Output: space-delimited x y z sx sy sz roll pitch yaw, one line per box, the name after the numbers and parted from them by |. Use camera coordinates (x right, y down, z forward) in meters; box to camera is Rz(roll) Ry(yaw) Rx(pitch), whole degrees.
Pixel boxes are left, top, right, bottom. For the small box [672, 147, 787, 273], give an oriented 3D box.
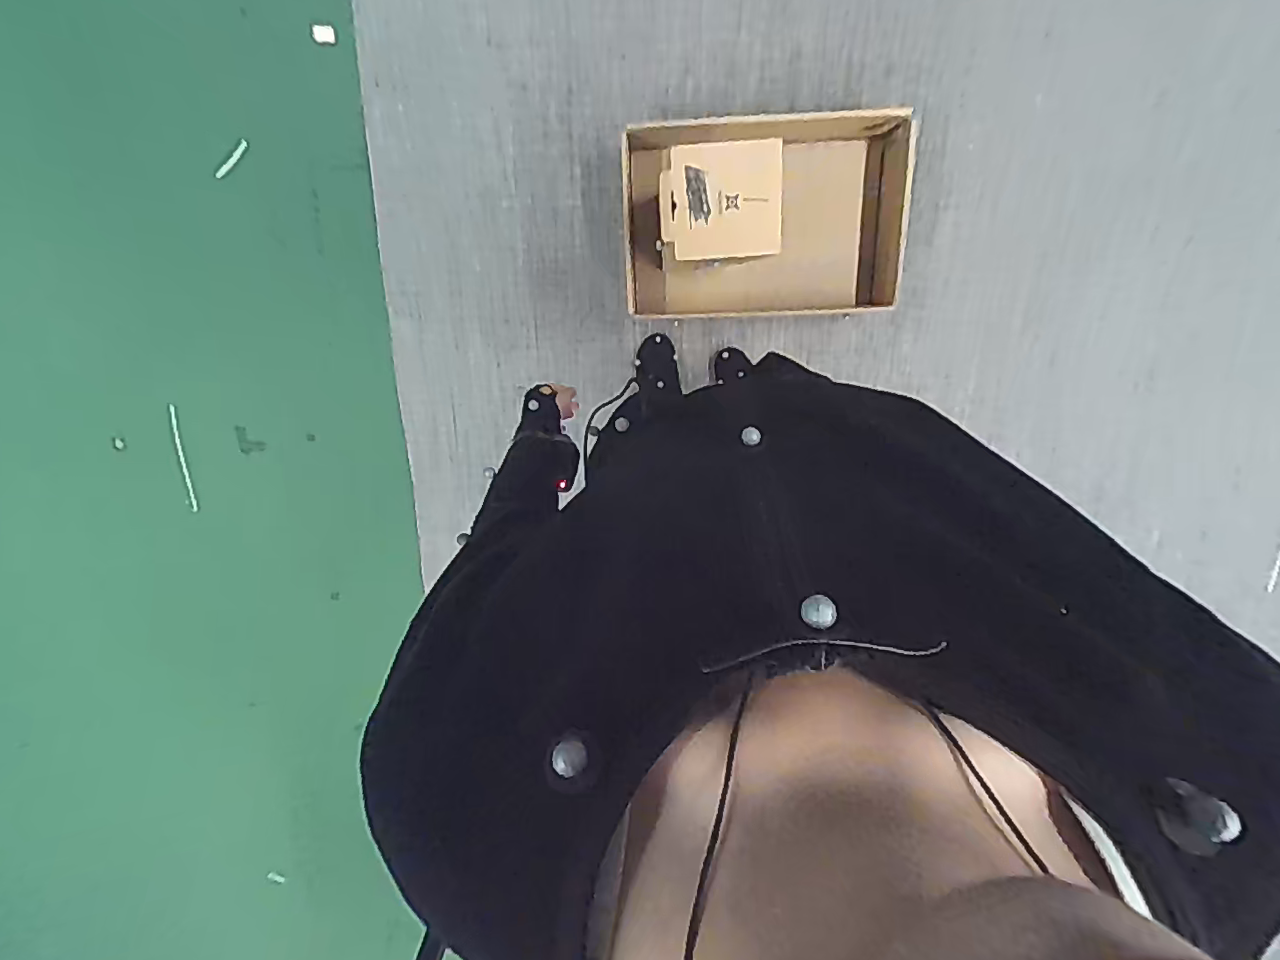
0.146 -0.452 0.931 0.179 0.176 0.168 -4 108 2 | small box

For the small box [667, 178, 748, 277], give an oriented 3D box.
0.145 -0.504 1.086 0.179 0.176 0.168 -3 108 2 | small box
